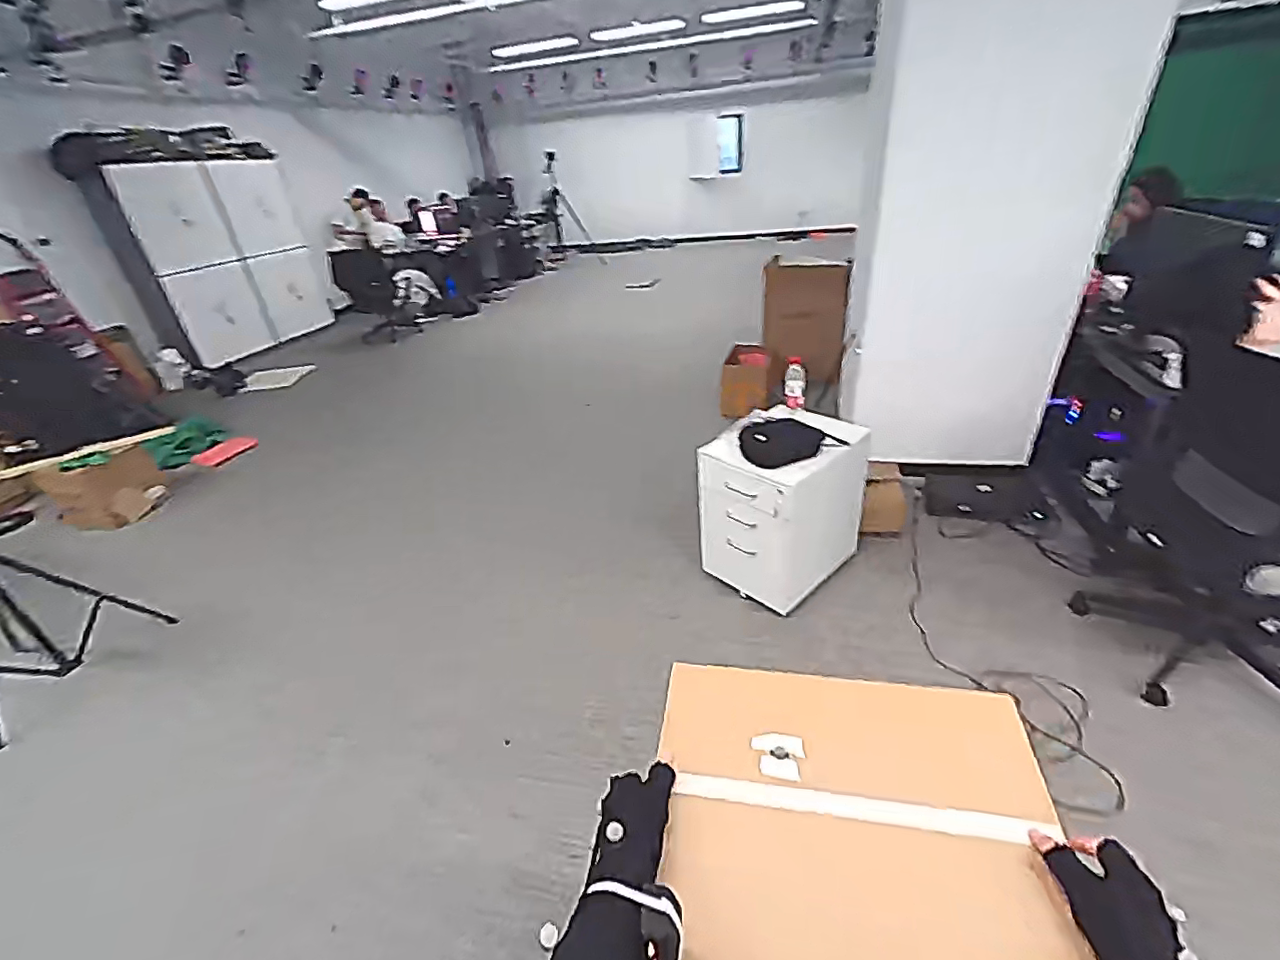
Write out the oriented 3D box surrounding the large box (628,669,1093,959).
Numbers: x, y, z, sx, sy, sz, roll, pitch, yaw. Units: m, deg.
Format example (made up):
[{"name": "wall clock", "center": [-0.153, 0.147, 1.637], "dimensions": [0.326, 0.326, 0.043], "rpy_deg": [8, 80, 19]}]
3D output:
[{"name": "large box", "center": [0.228, 0.466, 0.662], "dimensions": [0.408, 0.320, 0.320], "rpy_deg": [0, 37, 13]}]
